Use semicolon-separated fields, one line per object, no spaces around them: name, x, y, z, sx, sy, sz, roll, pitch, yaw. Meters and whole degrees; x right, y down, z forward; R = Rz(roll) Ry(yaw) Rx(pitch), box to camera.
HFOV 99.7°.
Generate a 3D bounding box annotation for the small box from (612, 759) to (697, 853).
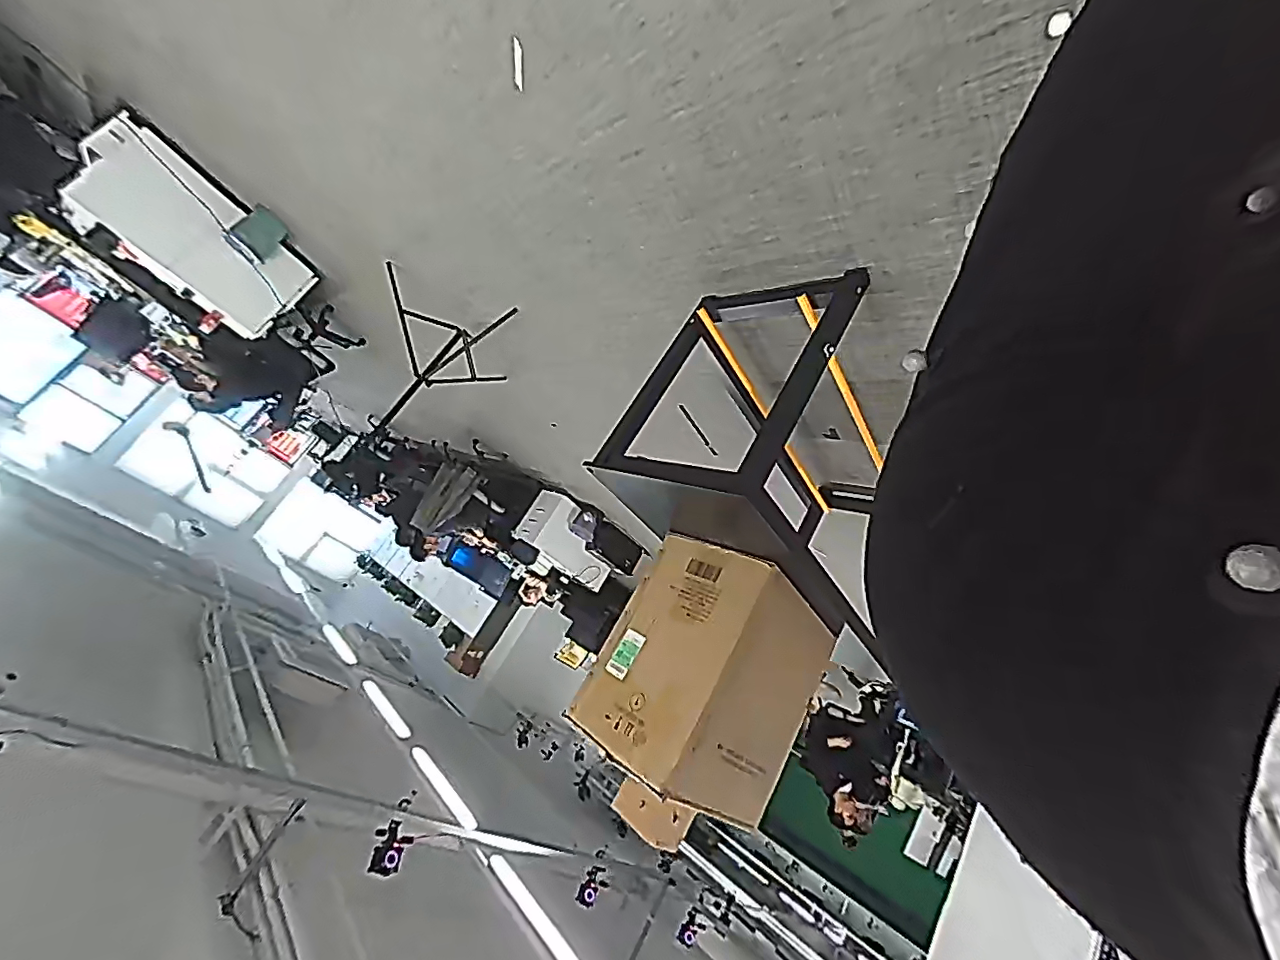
small box;0.053;1.003;1.672;0.179;0.176;0.168;11;152;51
